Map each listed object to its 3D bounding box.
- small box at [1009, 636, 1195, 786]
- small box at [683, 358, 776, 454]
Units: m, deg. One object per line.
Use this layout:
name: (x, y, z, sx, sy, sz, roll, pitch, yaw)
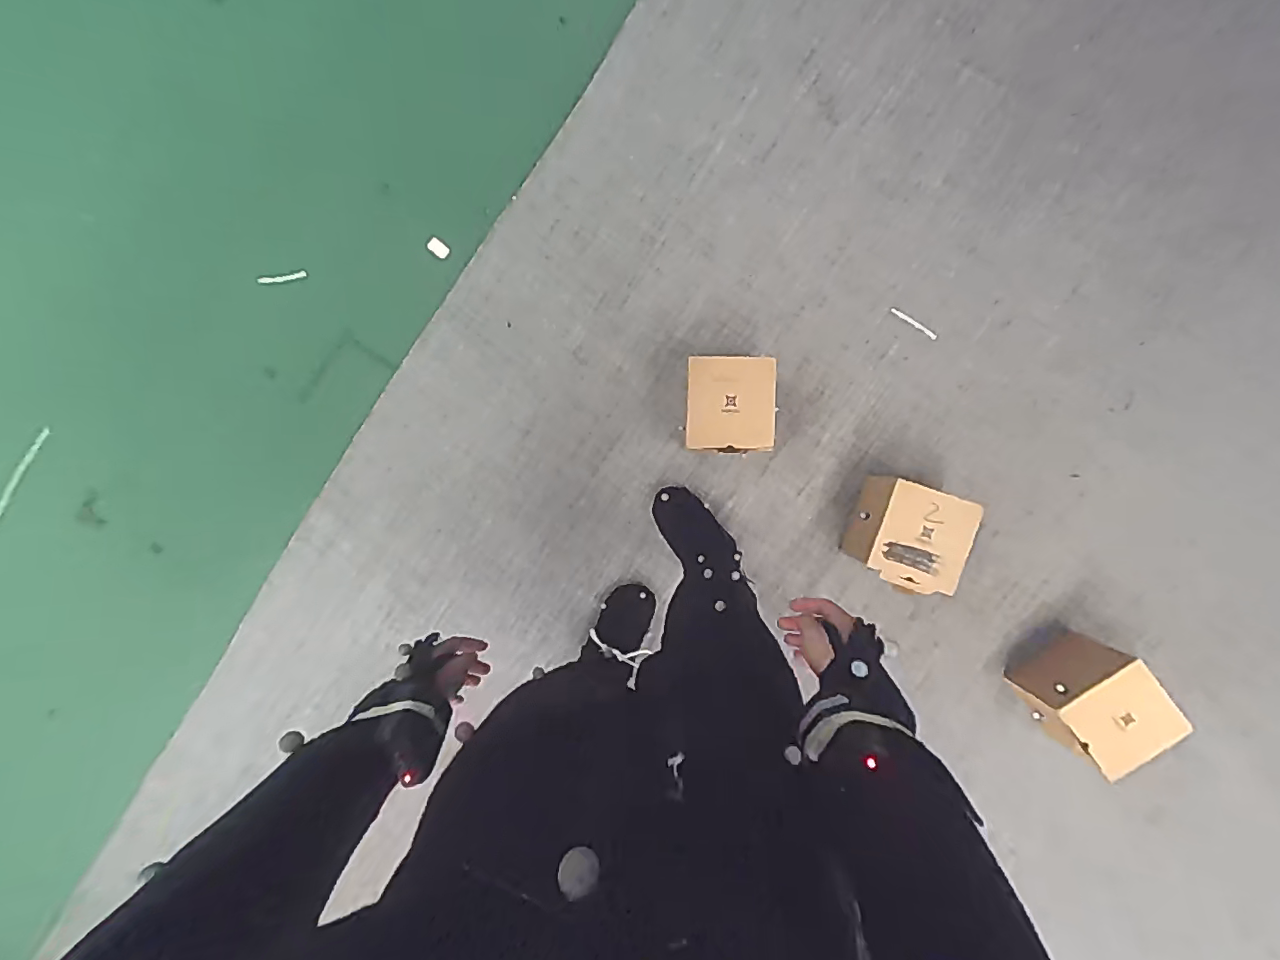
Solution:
small box: (0.876, 0.433, 1.046, 0.179, 0.176, 0.168, -37, 89, 5)
small box: (0.172, -0.141, 1.080, 0.168, 0.176, 0.179, 1, 91, 3)
